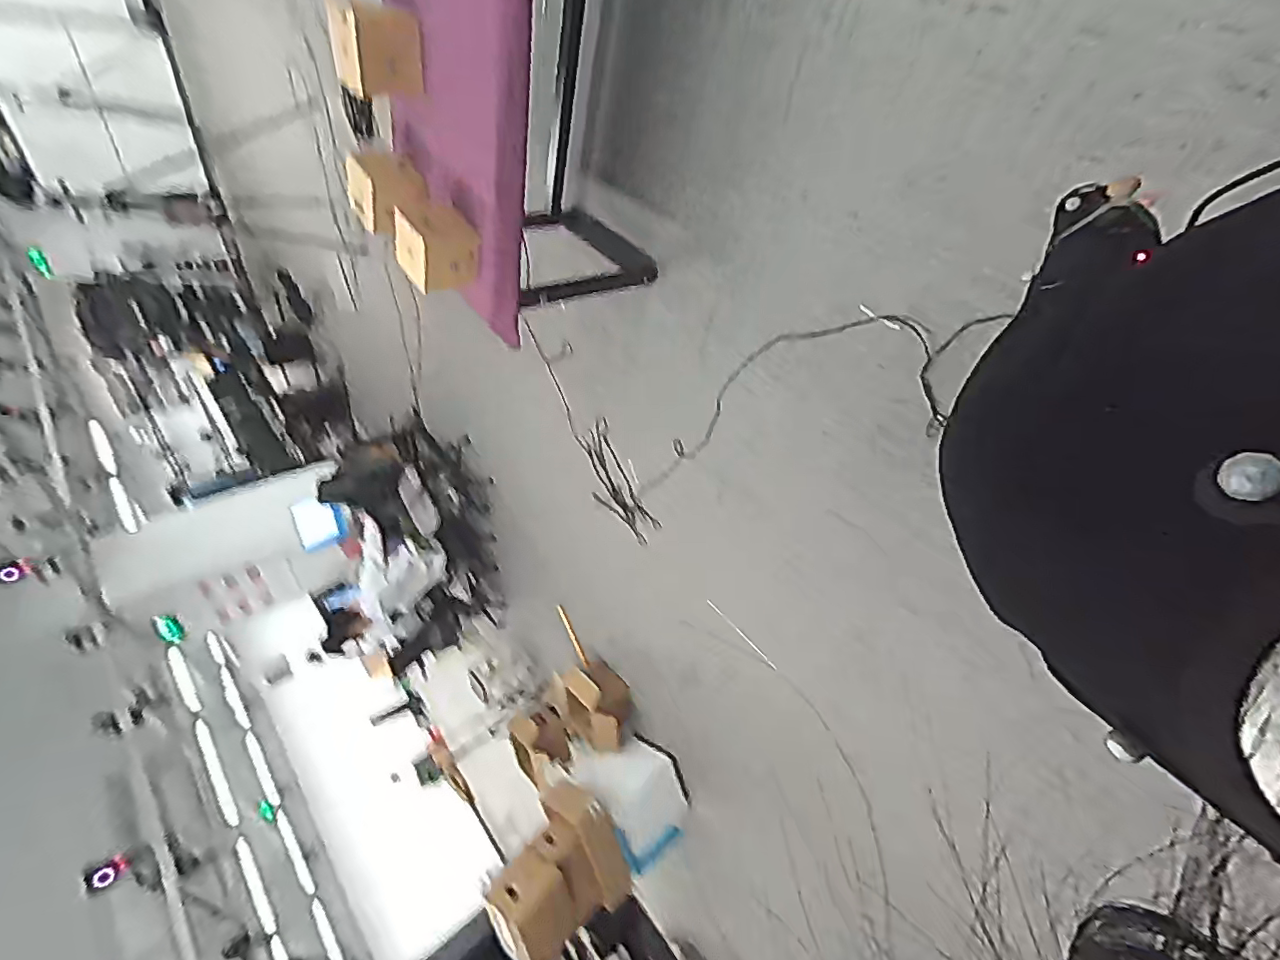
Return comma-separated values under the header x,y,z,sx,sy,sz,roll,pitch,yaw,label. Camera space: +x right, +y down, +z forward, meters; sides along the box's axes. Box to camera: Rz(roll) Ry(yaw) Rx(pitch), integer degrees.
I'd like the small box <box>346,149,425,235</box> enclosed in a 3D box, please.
x,y,z,sx,sy,sz,roll,pitch,yaw,label
-0.788,-0.897,1.683,0.168,0.176,0.179,51,141,15,small box

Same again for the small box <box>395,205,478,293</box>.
x,y,z,sx,sy,sz,roll,pitch,yaw,label
-0.587,-0.676,1.568,0.179,0.176,0.168,50,142,19,small box

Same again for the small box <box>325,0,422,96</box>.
x,y,z,sx,sy,sz,roll,pitch,yaw,label
-0.688,-1.132,1.414,0.168,0.176,0.179,42,140,24,small box
